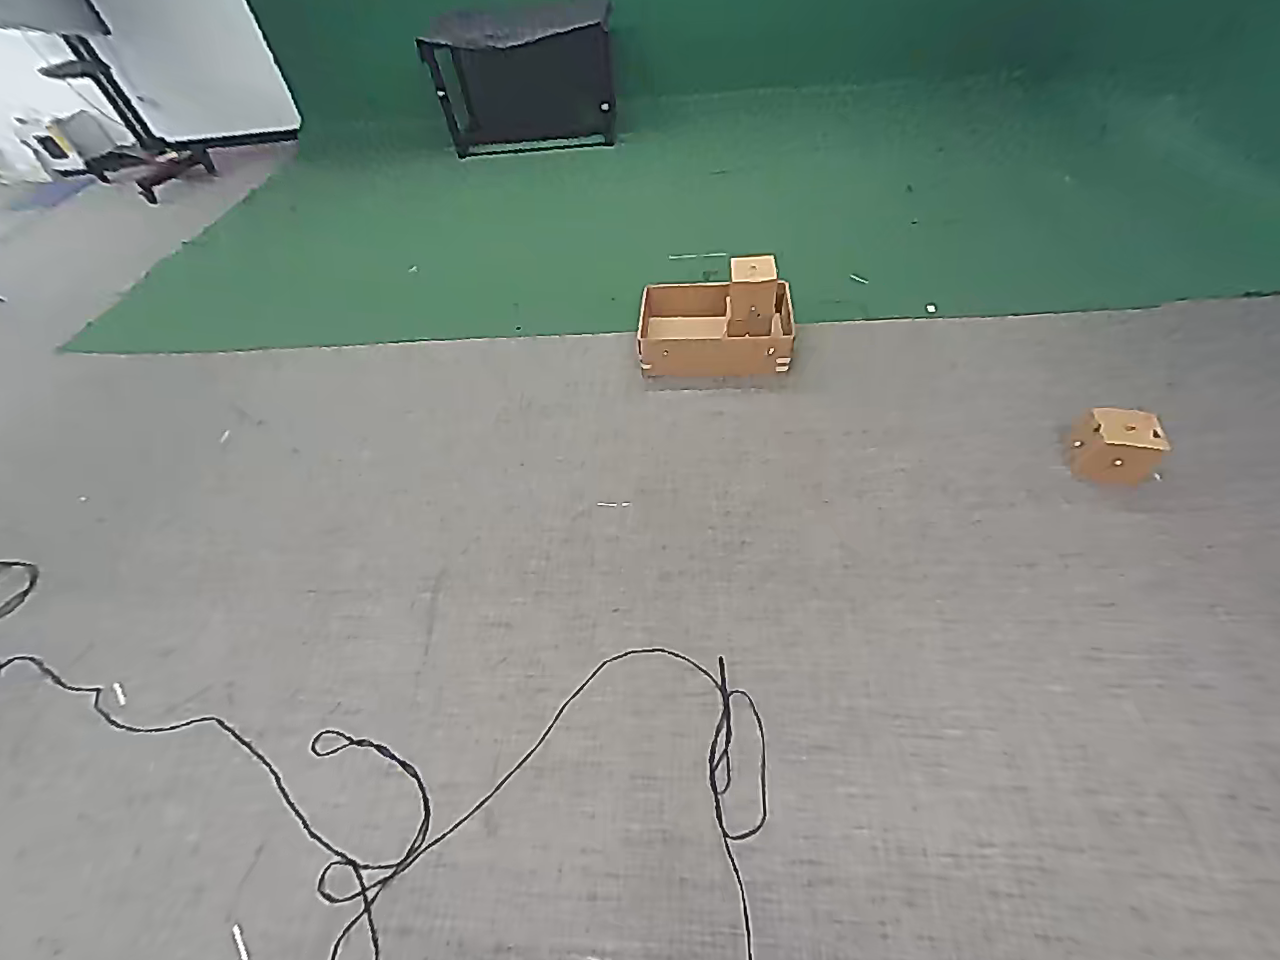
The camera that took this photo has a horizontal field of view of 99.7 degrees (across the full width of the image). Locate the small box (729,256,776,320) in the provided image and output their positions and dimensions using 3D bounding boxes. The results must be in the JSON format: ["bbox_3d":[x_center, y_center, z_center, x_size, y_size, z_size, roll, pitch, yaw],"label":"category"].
[{"bbox_3d":[0.430,-0.741,2.089,0.168,0.176,0.179,-1,51,8],"label":"small box"}]

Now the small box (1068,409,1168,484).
[{"bbox_3d":[1.503,-0.104,1.718,0.179,0.176,0.168,8,52,14],"label":"small box"}]
